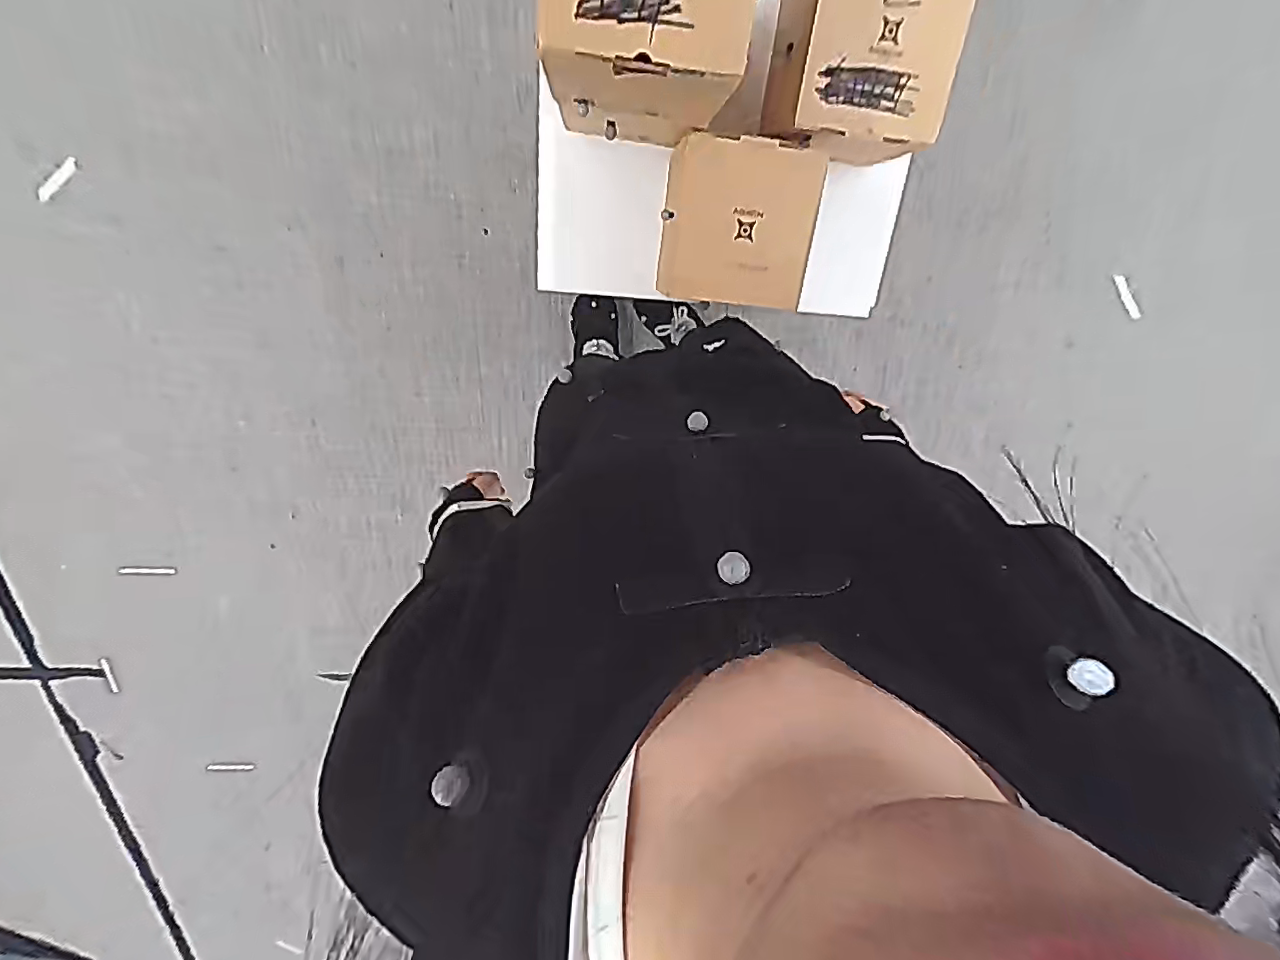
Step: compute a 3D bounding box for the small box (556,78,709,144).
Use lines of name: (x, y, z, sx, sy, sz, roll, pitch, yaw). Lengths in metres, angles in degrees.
small box: (0.001, -0.500, 0.611, 0.168, 0.176, 0.179, 5, 113, -7)

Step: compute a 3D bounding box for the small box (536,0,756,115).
small box: (0.008, -0.437, 0.460, 0.168, 0.176, 0.179, 5, 112, -6)
